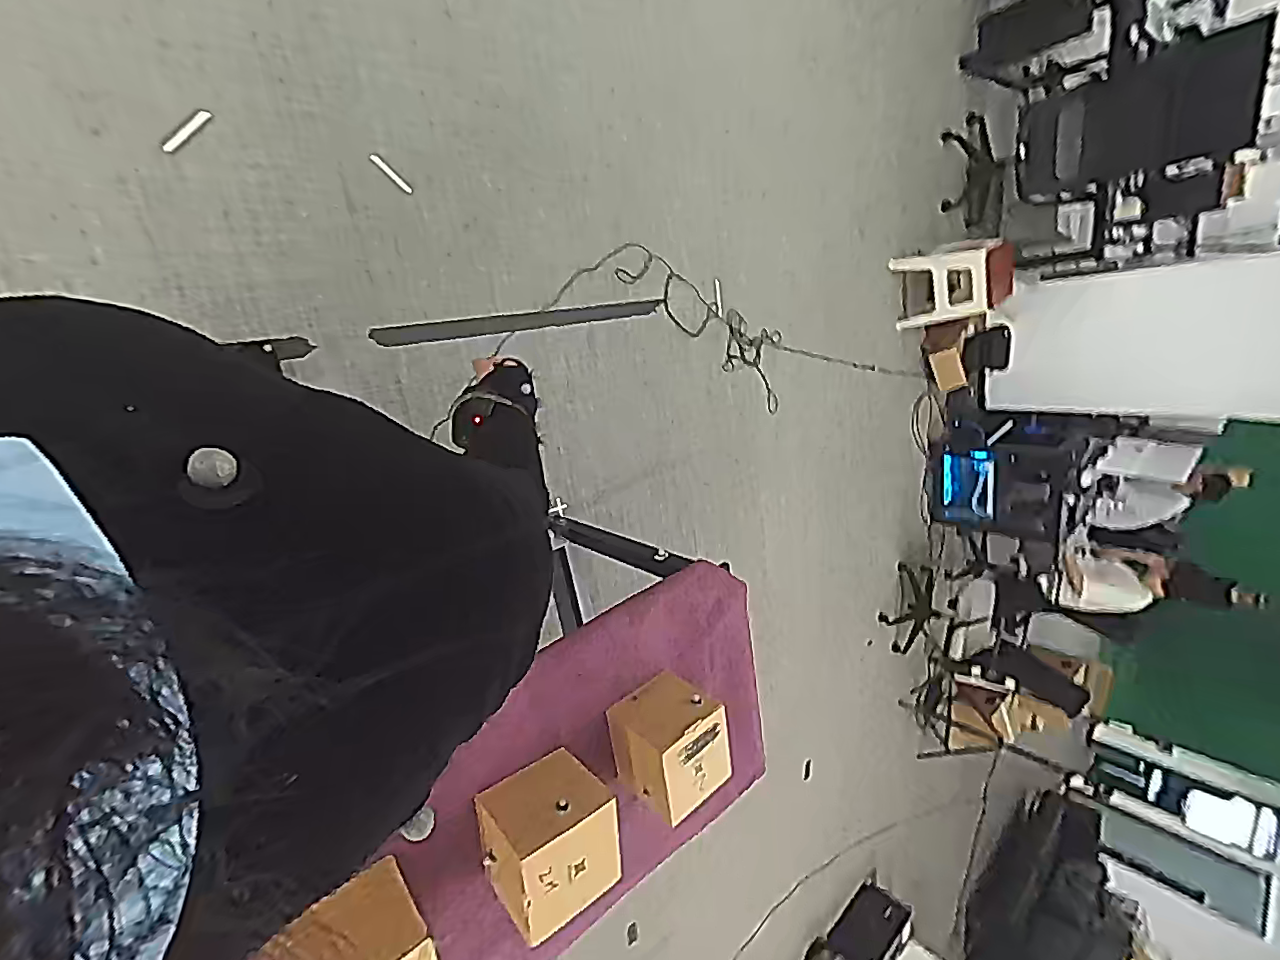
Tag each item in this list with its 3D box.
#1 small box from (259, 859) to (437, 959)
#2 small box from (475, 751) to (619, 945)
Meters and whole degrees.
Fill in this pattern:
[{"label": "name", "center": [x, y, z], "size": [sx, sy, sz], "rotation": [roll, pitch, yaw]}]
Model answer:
[{"label": "small box", "center": [-0.384, 0.674, 0.731], "size": [0.179, 0.176, 0.168], "rotation": [-18, 110, -37]}, {"label": "small box", "center": [-0.157, 0.598, 0.910], "size": [0.179, 0.176, 0.168], "rotation": [-13, 105, -38]}]
